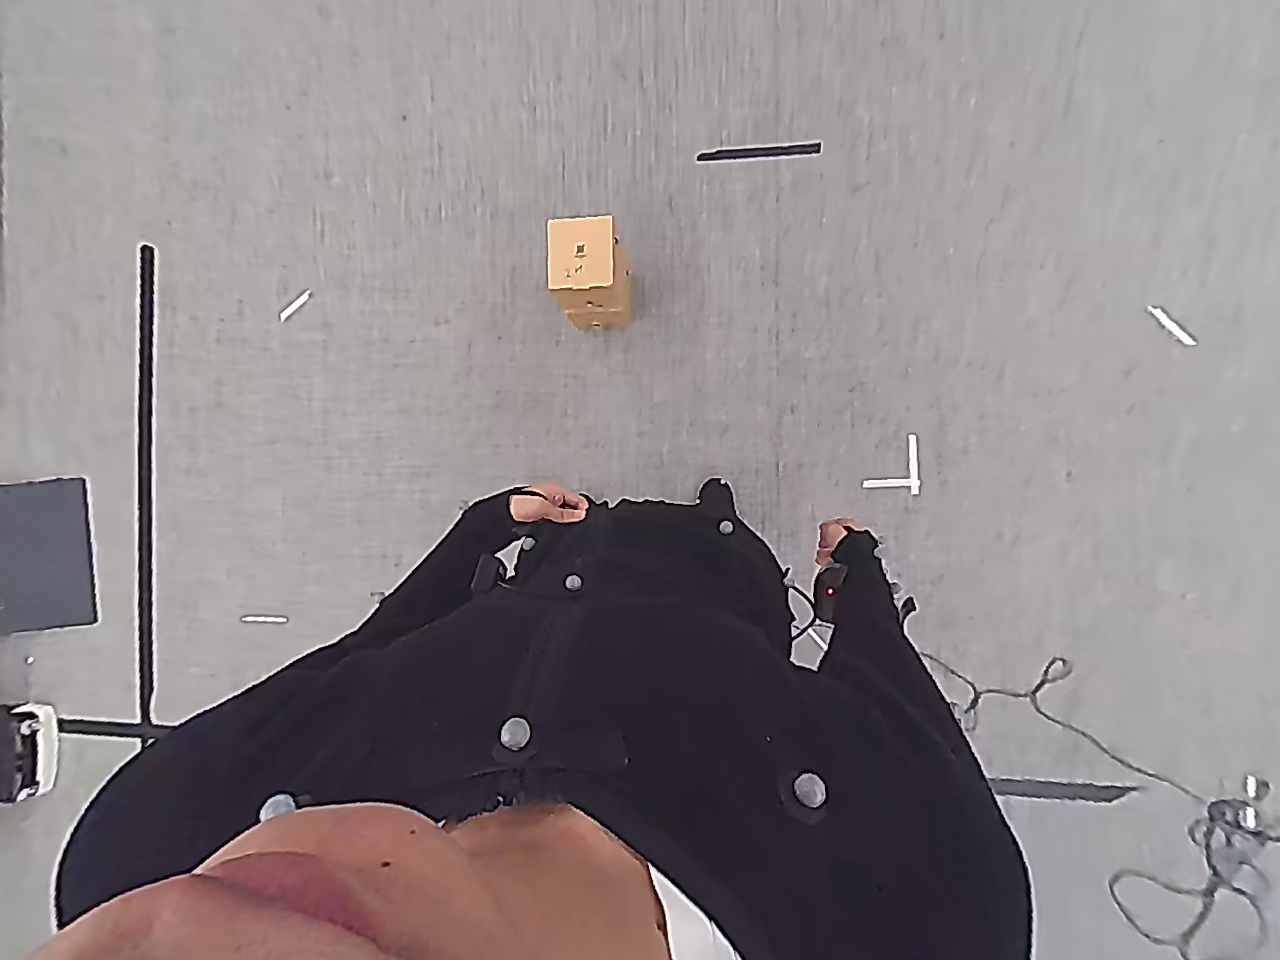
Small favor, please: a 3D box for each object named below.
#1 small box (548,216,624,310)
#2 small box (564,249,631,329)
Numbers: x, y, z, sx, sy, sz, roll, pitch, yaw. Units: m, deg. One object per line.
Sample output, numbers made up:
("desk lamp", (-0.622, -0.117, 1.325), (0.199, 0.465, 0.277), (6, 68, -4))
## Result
("small box", (-0.136, -0.554, 1.395), (0.168, 0.176, 0.179), (0, 91, 7))
("small box", (-0.120, -0.546, 1.559), (0.168, 0.176, 0.179), (0, 90, 7))
